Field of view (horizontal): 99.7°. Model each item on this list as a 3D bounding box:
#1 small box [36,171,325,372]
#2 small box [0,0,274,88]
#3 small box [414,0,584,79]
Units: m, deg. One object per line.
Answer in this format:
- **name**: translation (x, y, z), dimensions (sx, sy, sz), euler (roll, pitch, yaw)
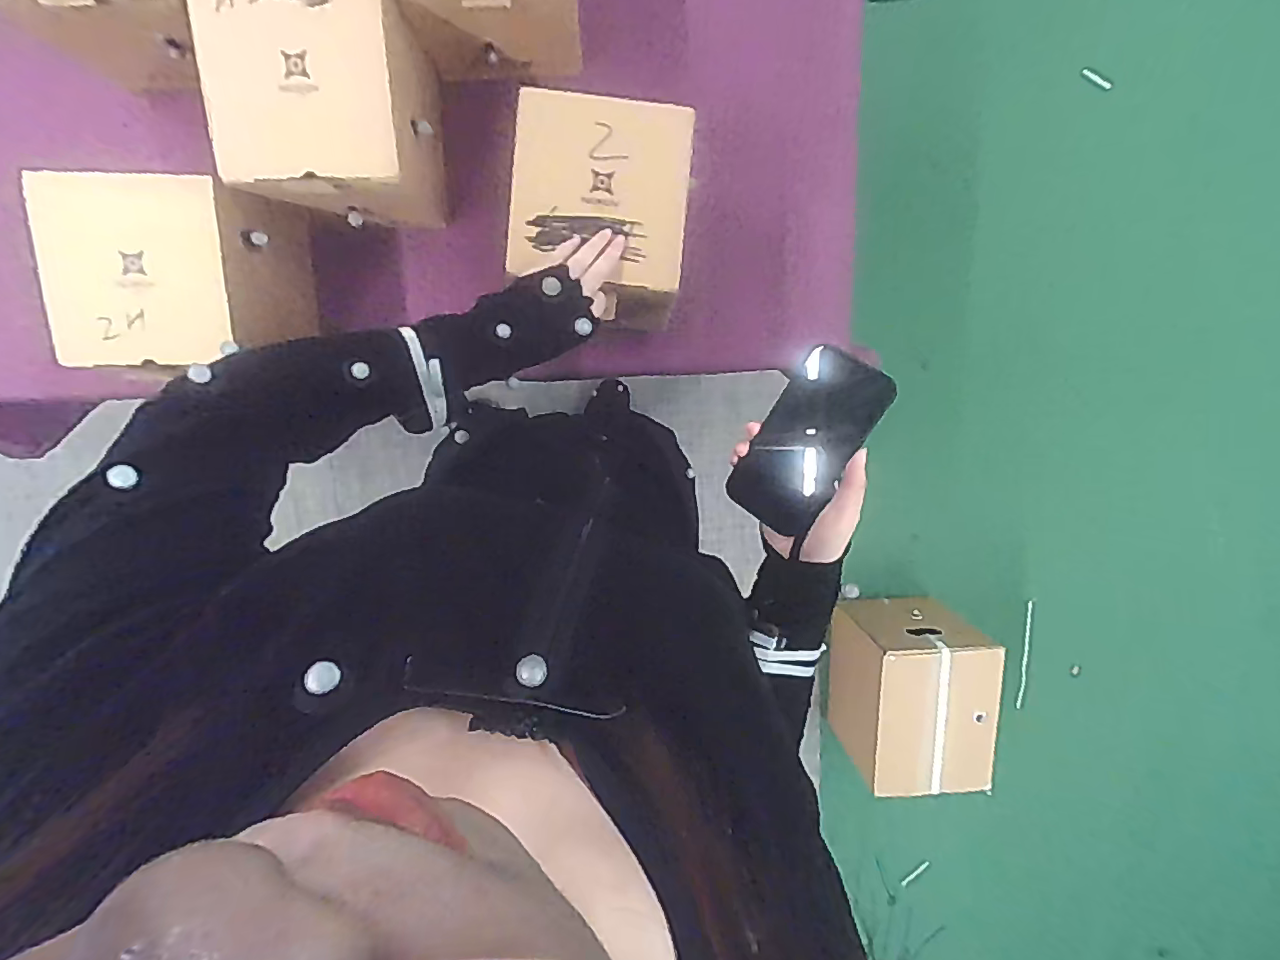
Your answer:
- **small box**: translation (-0.473, -0.209, 0.589), dimensions (0.168, 0.176, 0.179), euler (0, 101, -3)
- **small box**: translation (-0.495, -0.516, 0.528), dimensions (0.168, 0.176, 0.179), euler (-3, 102, -4)
- **small box**: translation (-0.146, -0.545, 0.543), dimensions (0.168, 0.176, 0.179), euler (-5, 103, -2)
